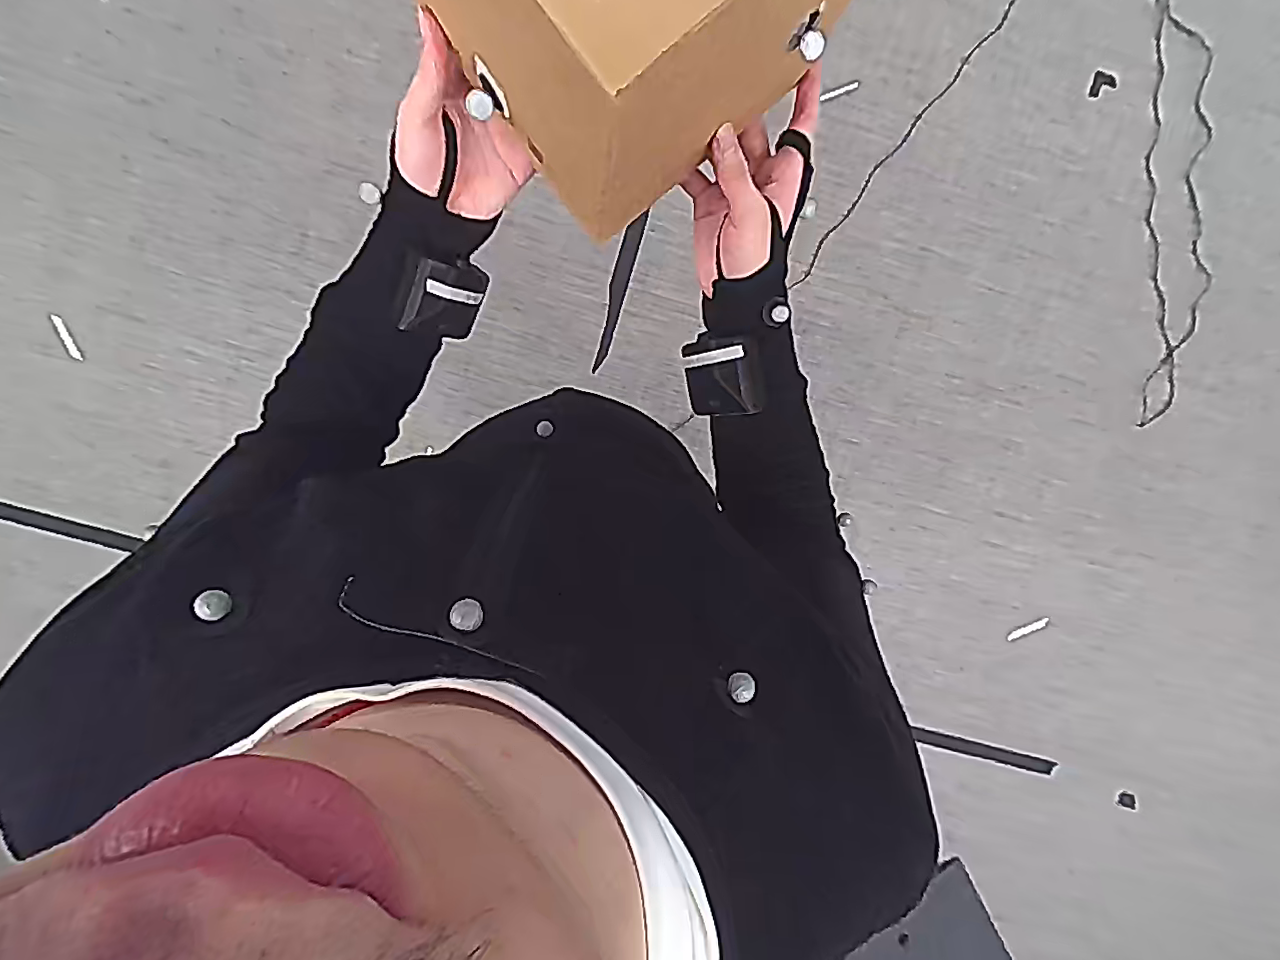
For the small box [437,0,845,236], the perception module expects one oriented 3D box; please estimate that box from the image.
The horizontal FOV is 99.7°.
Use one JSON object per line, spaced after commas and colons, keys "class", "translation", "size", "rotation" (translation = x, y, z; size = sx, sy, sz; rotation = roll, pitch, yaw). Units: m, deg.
{"class": "small box", "translation": [-0.002, -0.268, 0.279], "size": [0.179, 0.176, 0.168], "rotation": [-40, 97, -1]}
